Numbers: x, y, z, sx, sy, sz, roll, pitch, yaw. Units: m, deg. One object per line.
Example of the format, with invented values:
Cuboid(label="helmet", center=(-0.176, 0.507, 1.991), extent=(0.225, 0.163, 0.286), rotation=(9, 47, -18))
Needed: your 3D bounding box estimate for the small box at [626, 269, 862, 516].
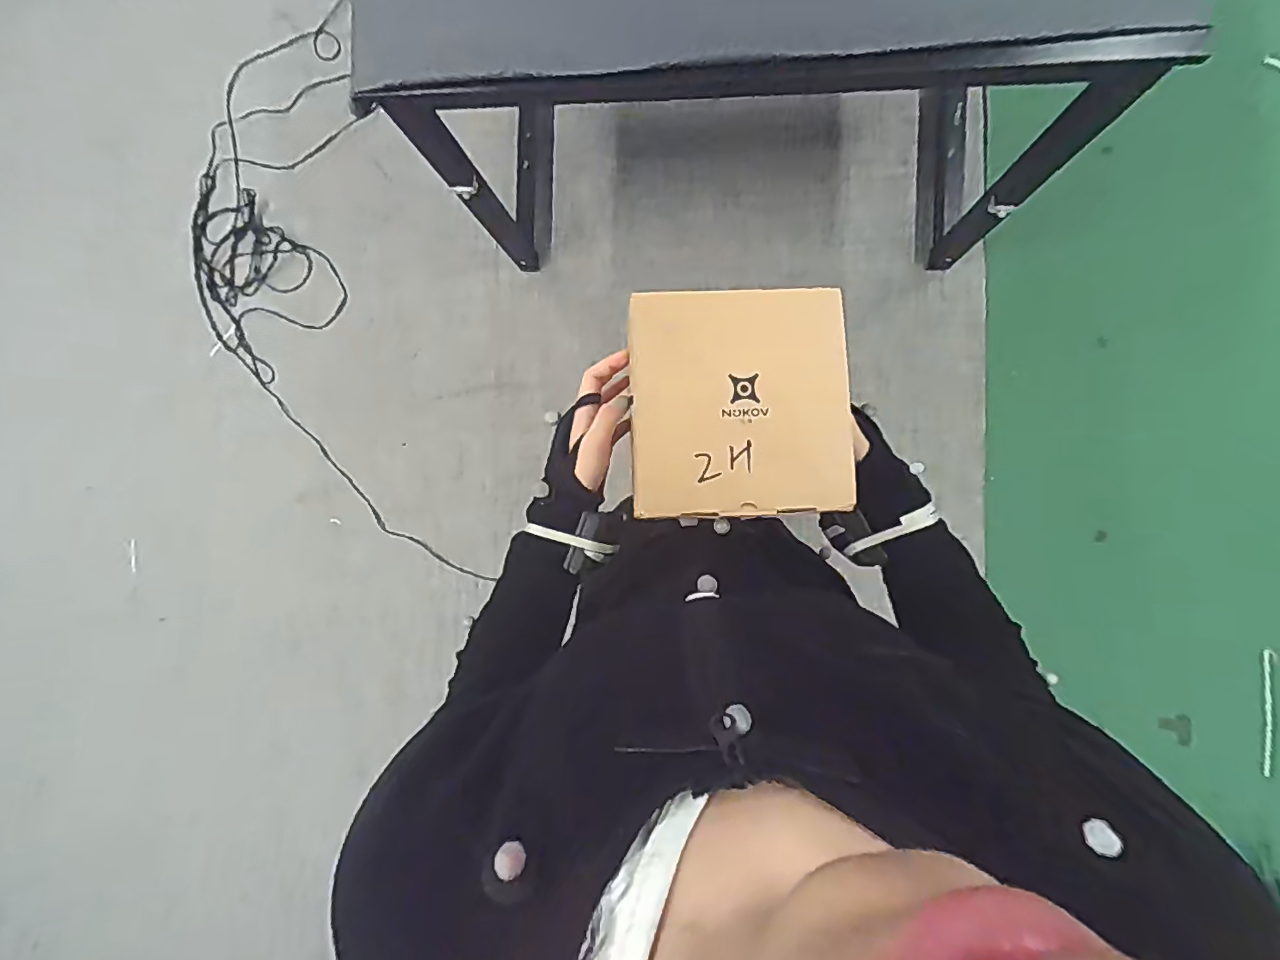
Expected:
Cuboid(label="small box", center=(0.073, -0.061, 0.472), extent=(0.168, 0.176, 0.179), rotation=(-2, 84, -2))
